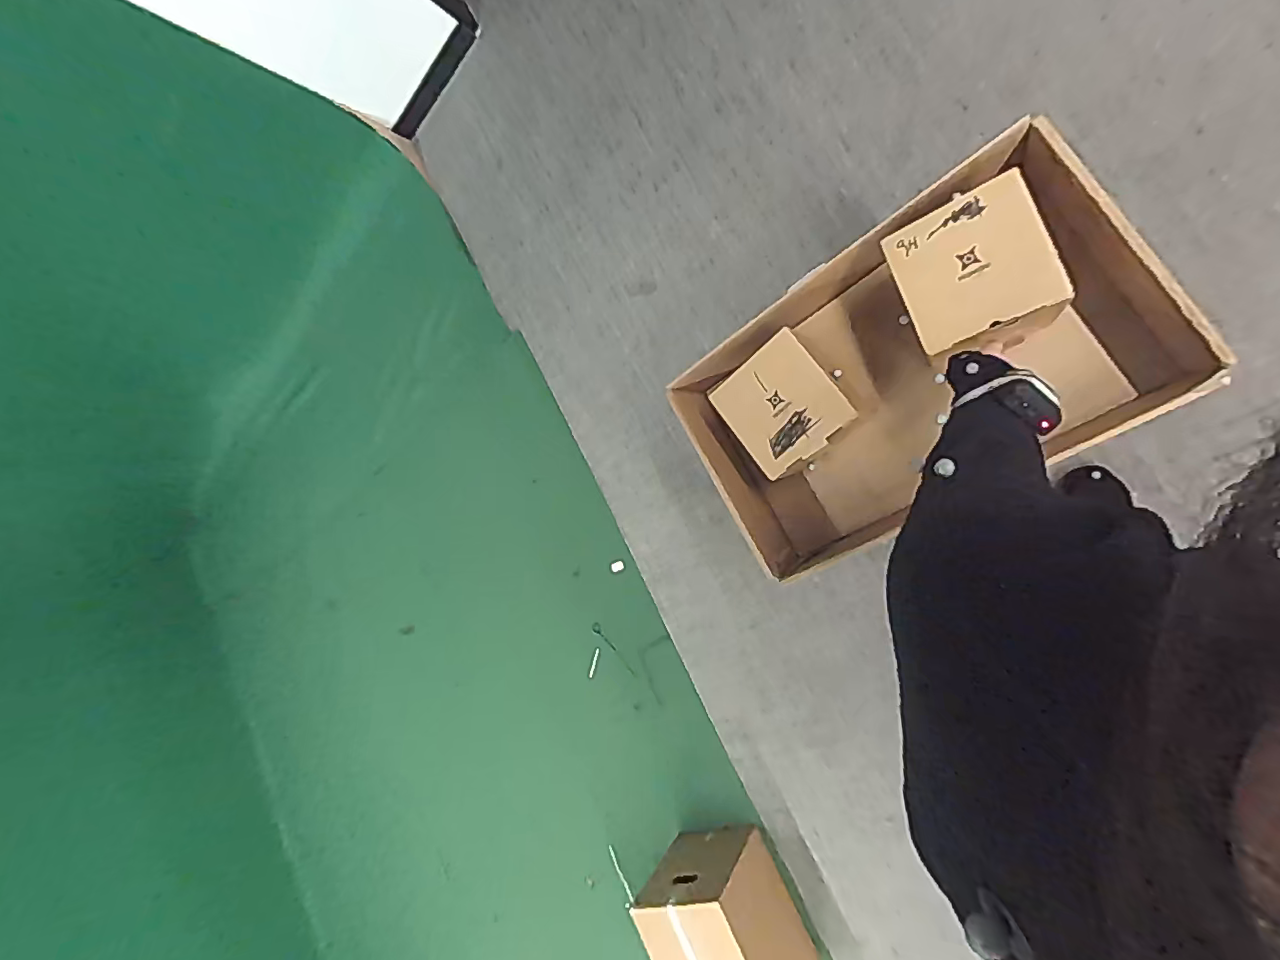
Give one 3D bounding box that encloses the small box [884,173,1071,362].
[{"bbox_3d":[0.465,-0.275,0.755,0.168,0.176,0.179,-22,82,31],"label":"small box"}]
